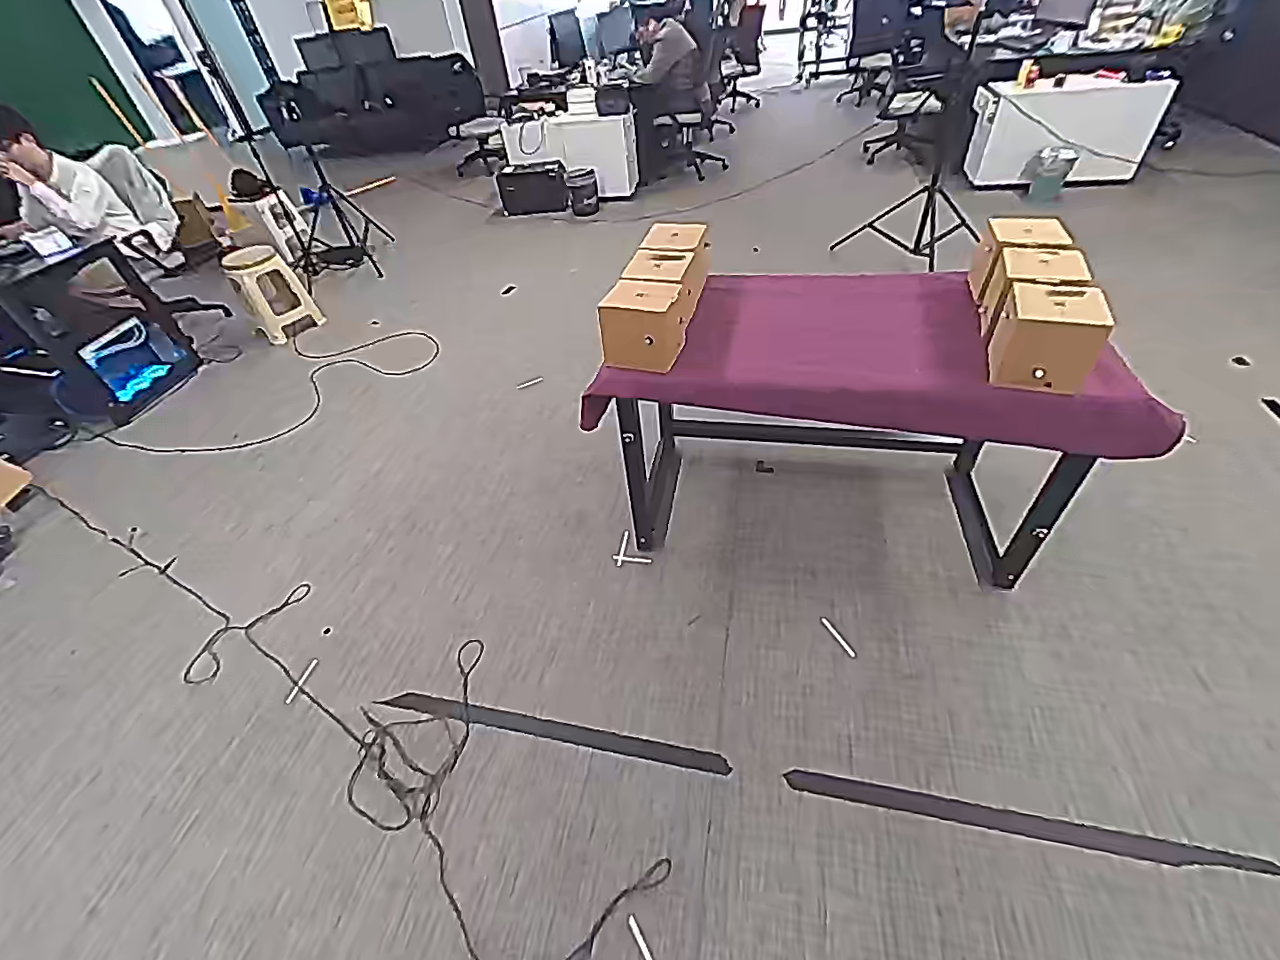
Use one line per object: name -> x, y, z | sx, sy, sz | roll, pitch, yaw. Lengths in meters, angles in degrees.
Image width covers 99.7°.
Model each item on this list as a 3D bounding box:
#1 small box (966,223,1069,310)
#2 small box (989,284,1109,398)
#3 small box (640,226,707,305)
small box -> 1.000, -0.572, 1.451 | 0.168, 0.176, 0.179 | 8, 45, 14
small box -> 0.889, -0.308, 1.192 | 0.168, 0.176, 0.179 | 12, 51, 23
small box -> 0.105, -0.652, 1.643 | 0.168, 0.176, 0.179 | 8, 47, 15
